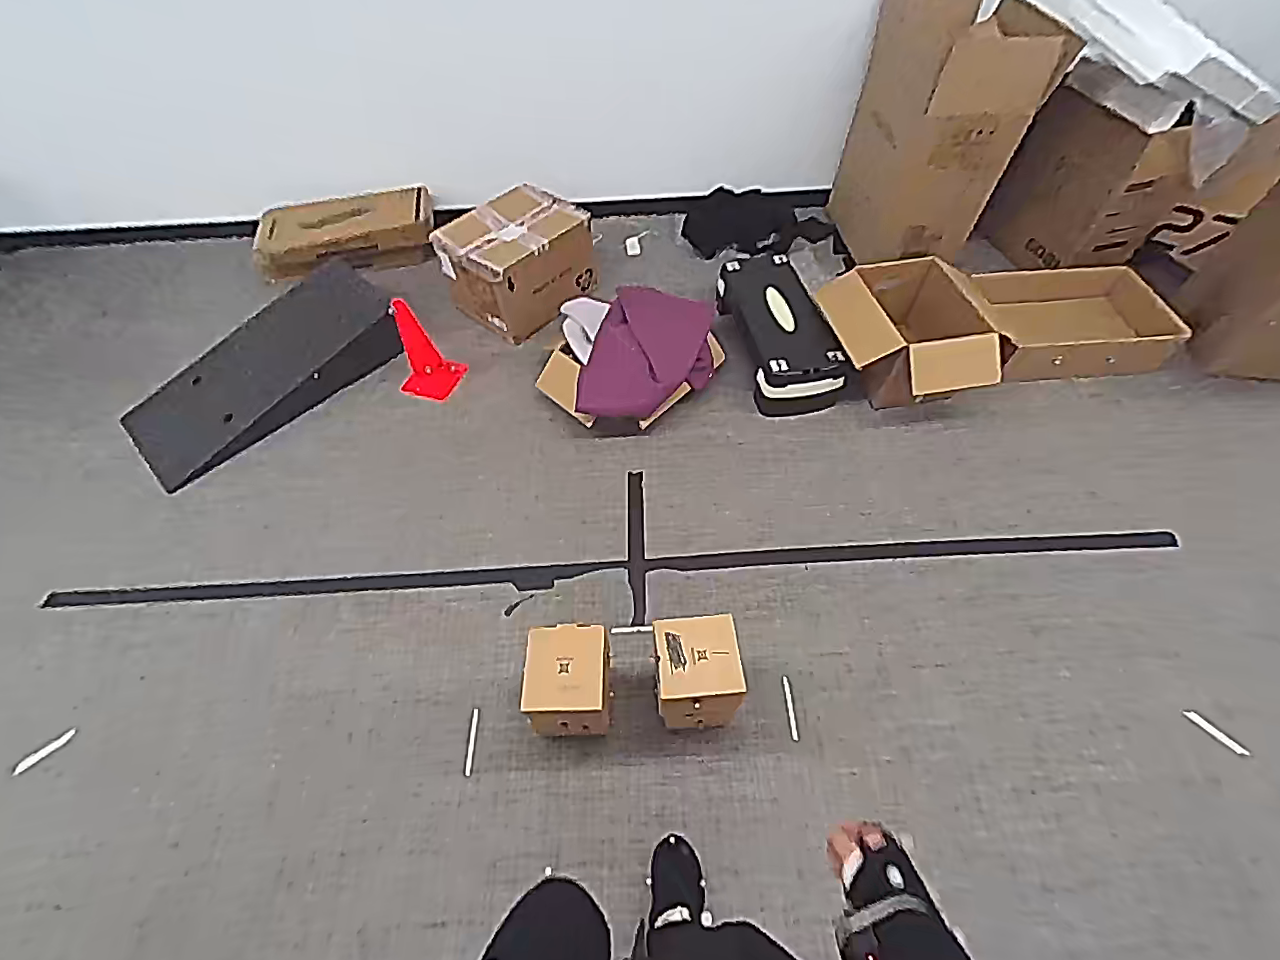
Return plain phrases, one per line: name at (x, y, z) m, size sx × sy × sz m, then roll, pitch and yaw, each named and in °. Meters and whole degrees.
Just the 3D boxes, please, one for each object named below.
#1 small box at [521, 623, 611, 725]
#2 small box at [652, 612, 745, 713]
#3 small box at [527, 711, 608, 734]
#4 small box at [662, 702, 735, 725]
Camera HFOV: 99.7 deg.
small box at (-0.153, 0.426, 1.179) m, size 0.168 × 0.176 × 0.179 m, roll -2°, pitch 57°, yaw 2°
small box at (0.121, 0.404, 1.184) m, size 0.179 × 0.176 × 0.168 m, roll -4°, pitch 56°, yaw -2°
small box at (-0.165, 0.515, 1.316) m, size 0.179 × 0.176 × 0.168 m, roll -2°, pitch 55°, yaw 1°
small box at (0.132, 0.494, 1.323) m, size 0.168 × 0.176 × 0.179 m, roll -5°, pitch 56°, yaw -1°
